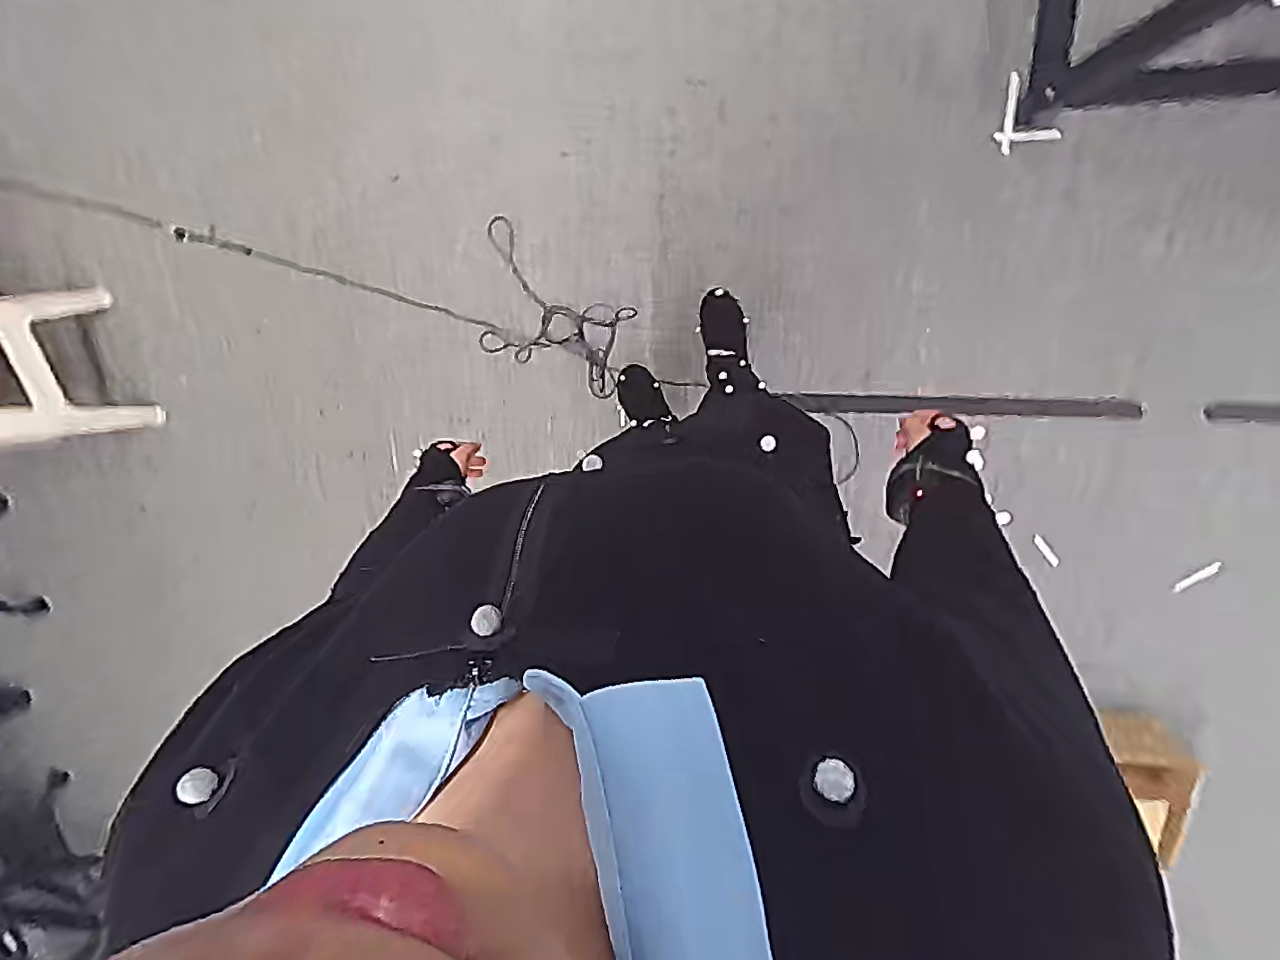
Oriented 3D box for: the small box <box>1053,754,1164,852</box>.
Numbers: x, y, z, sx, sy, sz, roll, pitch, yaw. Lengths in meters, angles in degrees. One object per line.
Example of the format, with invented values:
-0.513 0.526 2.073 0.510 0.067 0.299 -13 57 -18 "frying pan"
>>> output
1.312 0.906 1.529 0.168 0.176 0.179 -2 107 7 "small box"
